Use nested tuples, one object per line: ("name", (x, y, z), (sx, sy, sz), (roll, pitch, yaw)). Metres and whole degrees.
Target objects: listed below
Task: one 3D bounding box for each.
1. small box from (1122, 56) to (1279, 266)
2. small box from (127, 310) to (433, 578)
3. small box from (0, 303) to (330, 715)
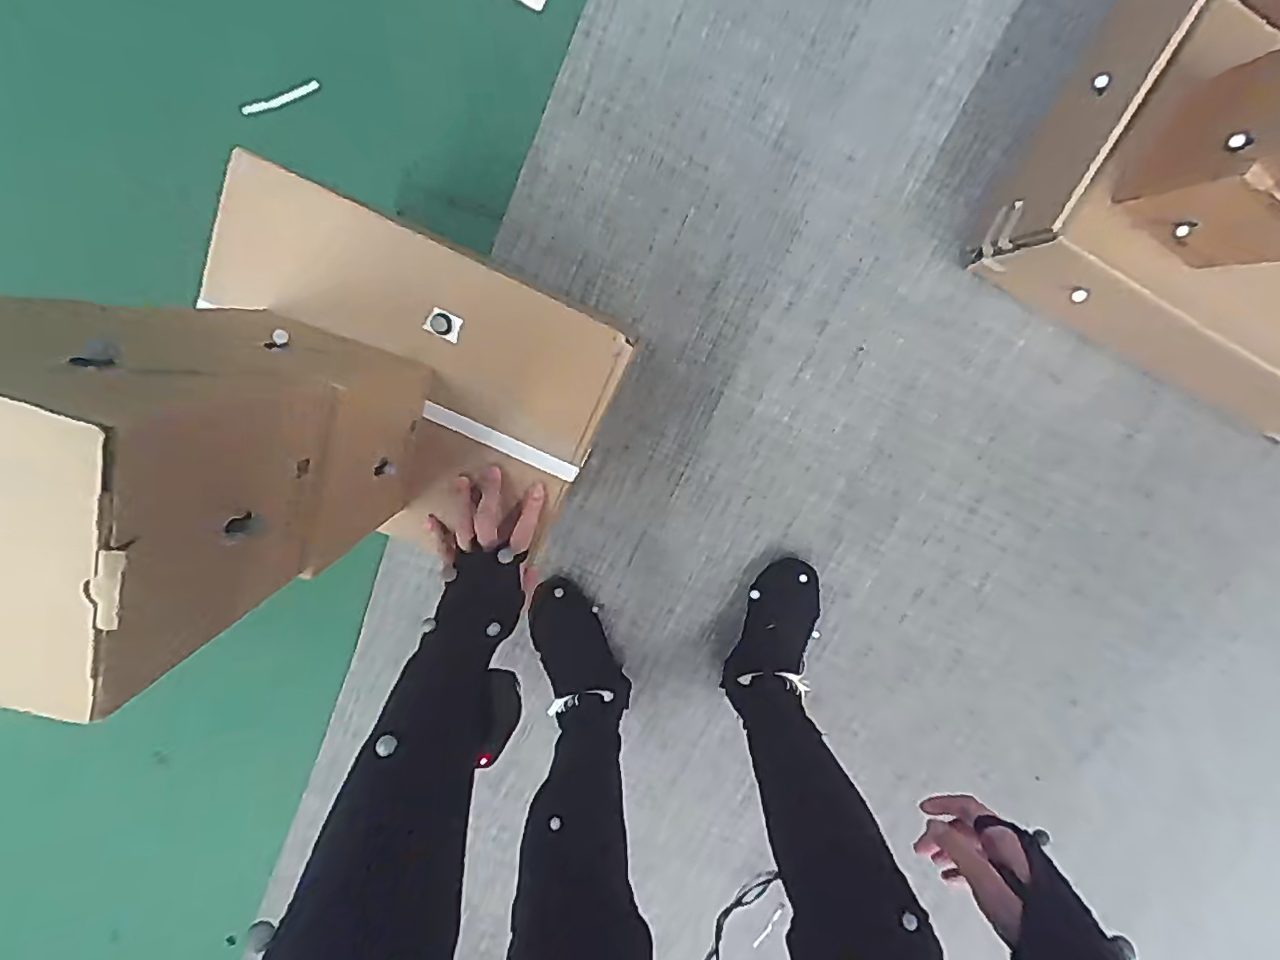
("small box", (0.754, -0.381, 0.647), (0.168, 0.176, 0.179), (28, 104, -9))
("small box", (-0.312, -0.043, 0.484), (0.179, 0.176, 0.168), (20, 105, -4))
("small box", (-0.325, -0.002, 0.326), (0.179, 0.176, 0.168), (20, 105, -5))
